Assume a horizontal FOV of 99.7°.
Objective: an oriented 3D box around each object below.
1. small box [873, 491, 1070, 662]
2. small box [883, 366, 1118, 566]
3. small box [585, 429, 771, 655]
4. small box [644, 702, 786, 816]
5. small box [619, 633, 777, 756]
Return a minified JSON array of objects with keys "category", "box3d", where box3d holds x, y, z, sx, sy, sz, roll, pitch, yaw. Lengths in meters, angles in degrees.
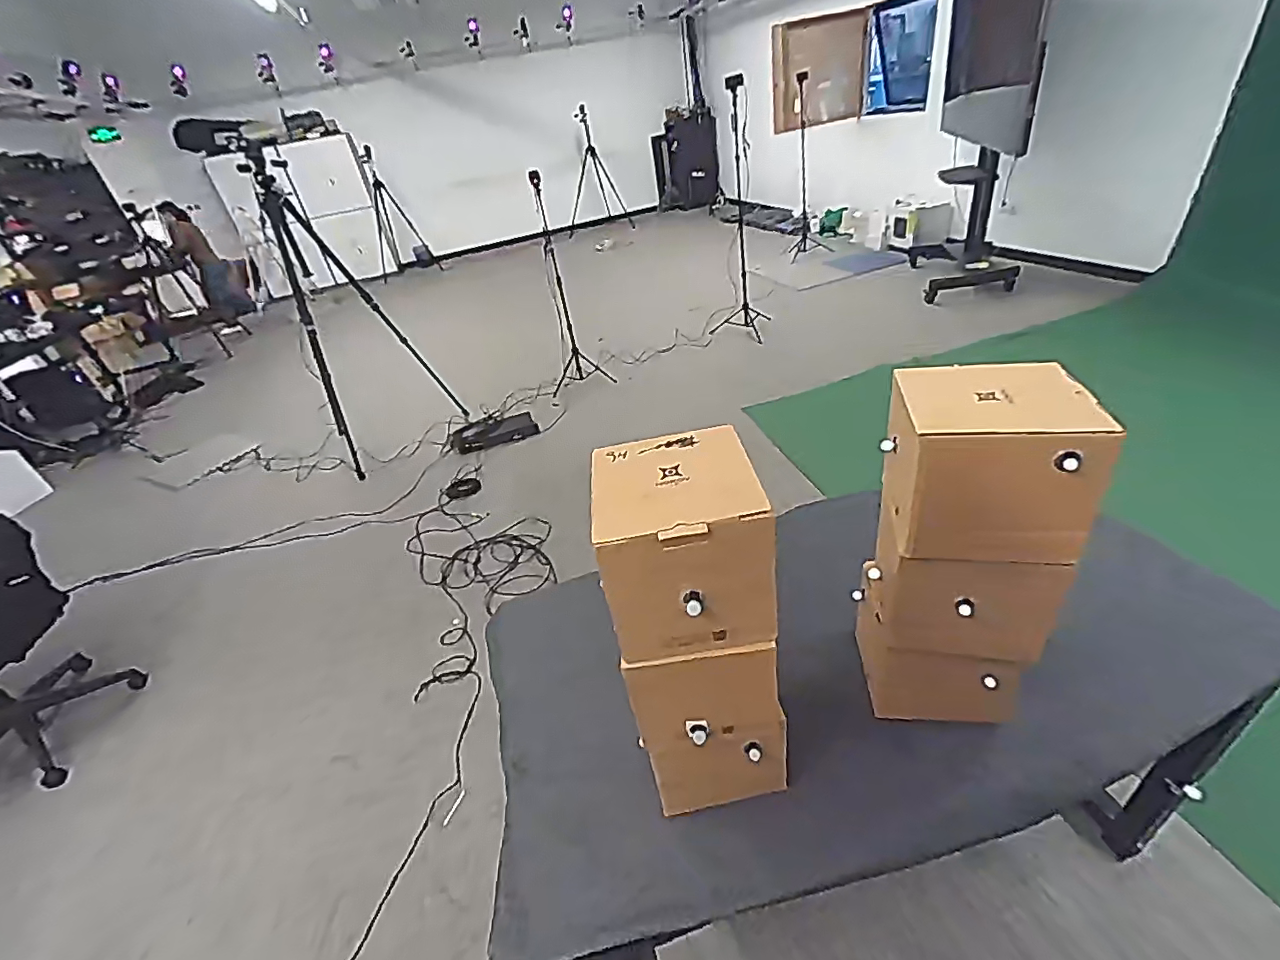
[{"category":"small box","box3d":[0.411,0.116,0.707,0.179,0.176,0.168,1,35,18]},{"category":"small box","box3d":[0.383,-0.017,0.618,0.179,0.176,0.168,0,34,15]},{"category":"small box","box3d":[0.041,0.070,0.589,0.168,0.176,0.179,-10,34,3]},{"category":"small box","box3d":[0.095,0.339,0.766,0.179,0.176,0.168,-12,33,-1]},{"category":"small box","box3d":[0.068,0.208,0.674,0.168,0.176,0.179,-10,34,3]}]
